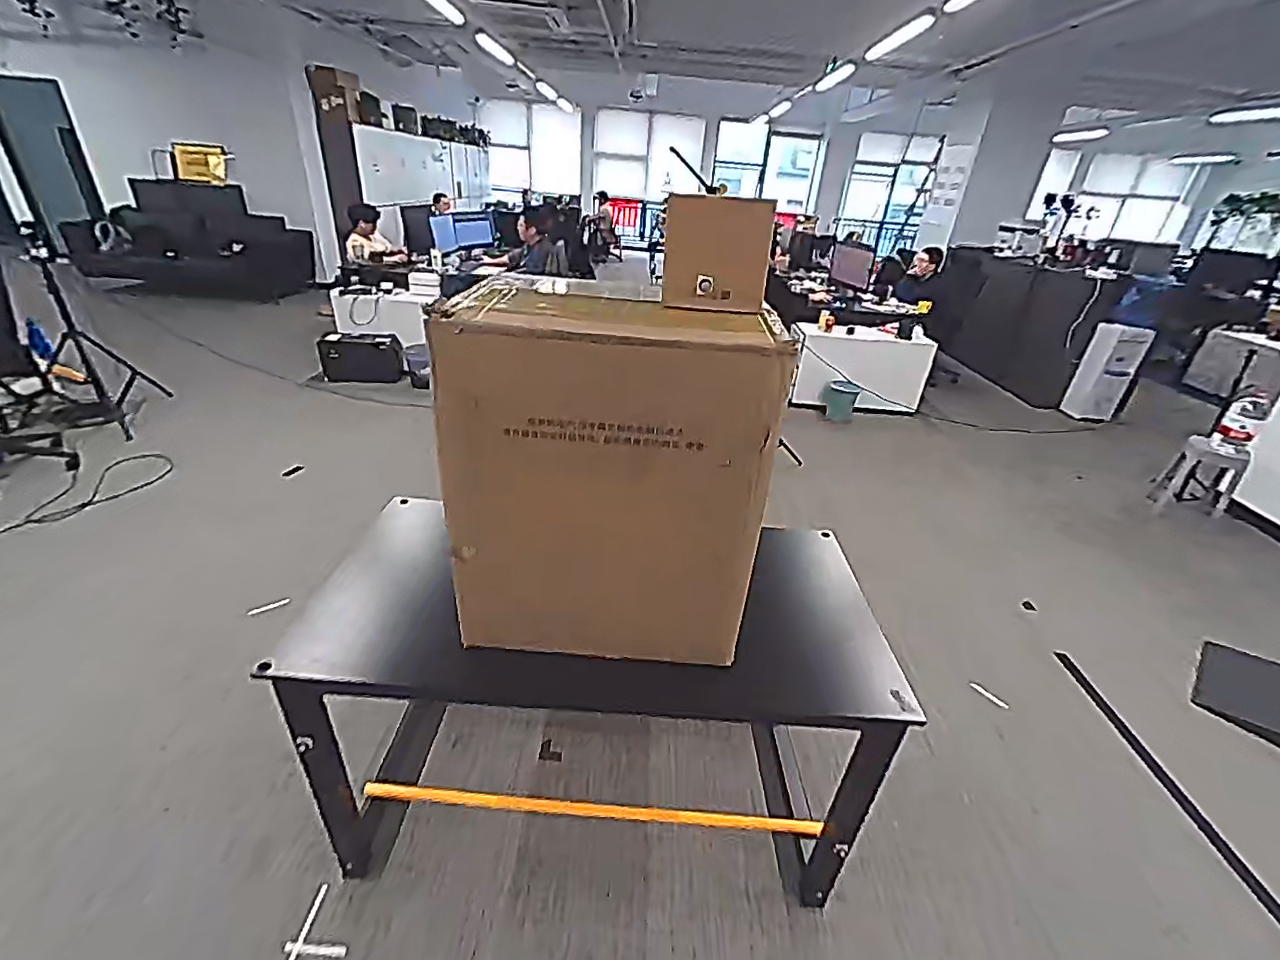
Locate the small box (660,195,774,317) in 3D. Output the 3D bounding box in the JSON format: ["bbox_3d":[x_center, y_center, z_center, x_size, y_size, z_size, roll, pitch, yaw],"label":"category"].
[{"bbox_3d":[0.120,-0.379,0.910,0.168,0.176,0.179,3,28,2],"label":"small box"}]
